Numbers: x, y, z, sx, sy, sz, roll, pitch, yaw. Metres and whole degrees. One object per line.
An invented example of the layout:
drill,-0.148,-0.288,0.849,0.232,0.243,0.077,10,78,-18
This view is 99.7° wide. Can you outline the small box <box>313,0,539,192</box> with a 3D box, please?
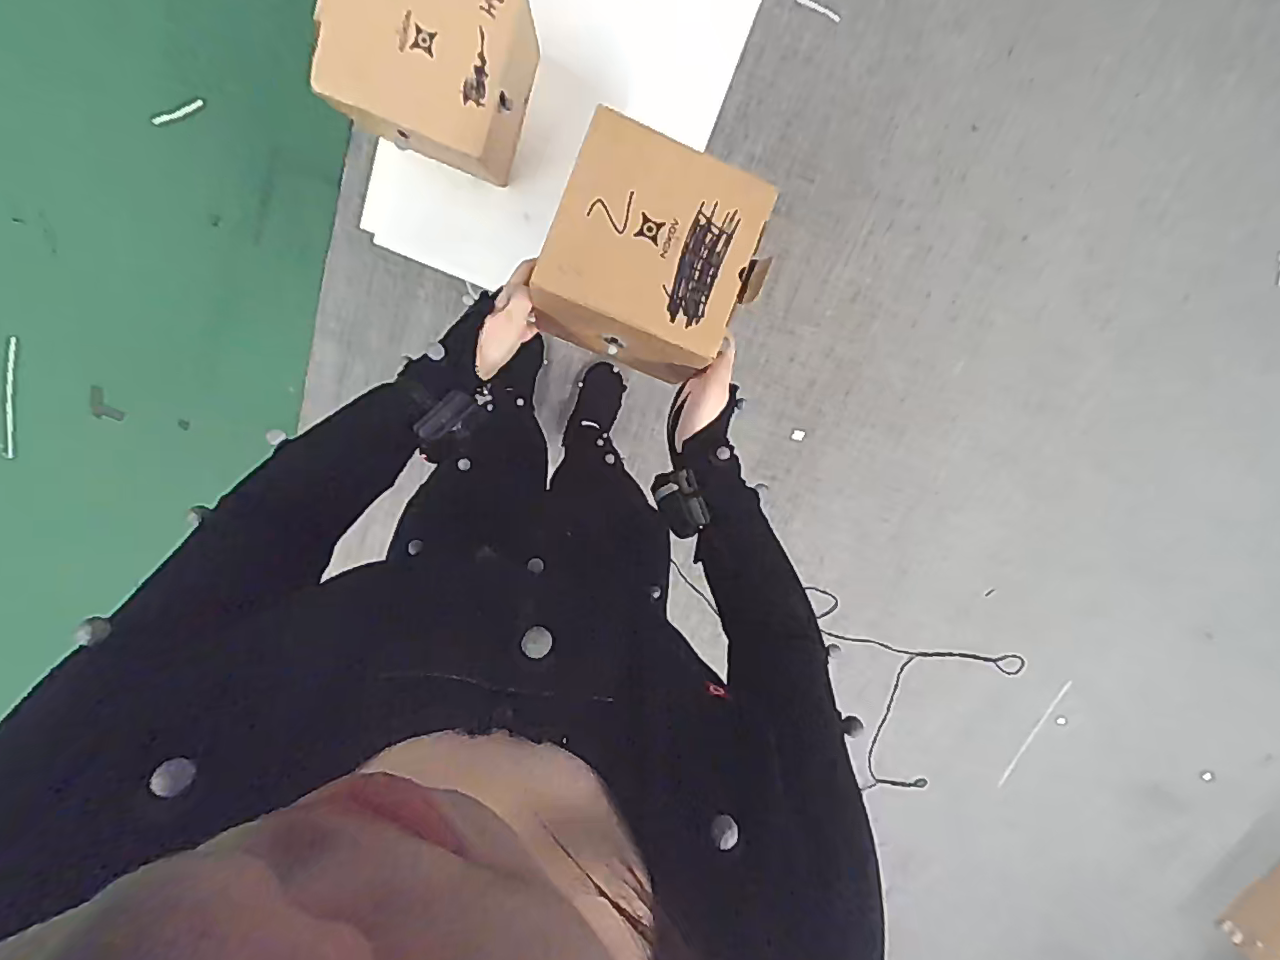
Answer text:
small box,-0.227,-0.451,0.612,0.179,0.176,0.168,18,106,-11
